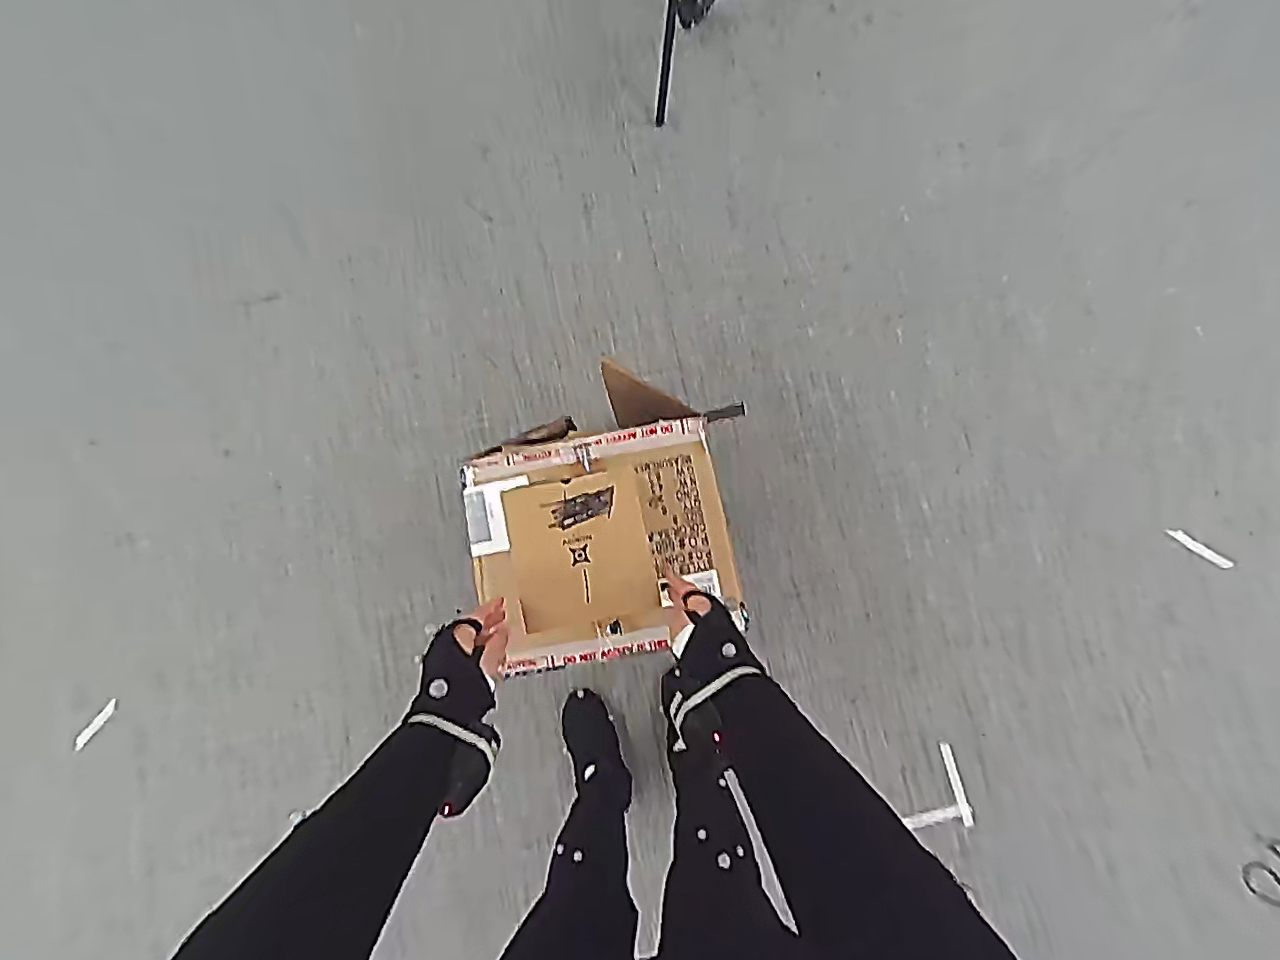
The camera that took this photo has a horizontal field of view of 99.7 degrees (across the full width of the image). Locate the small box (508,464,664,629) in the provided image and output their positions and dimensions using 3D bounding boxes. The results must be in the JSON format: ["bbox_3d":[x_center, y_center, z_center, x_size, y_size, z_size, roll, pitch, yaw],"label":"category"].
[{"bbox_3d":[-0.067,0.088,0.732,0.168,0.176,0.179,-12,85,0],"label":"small box"}]
